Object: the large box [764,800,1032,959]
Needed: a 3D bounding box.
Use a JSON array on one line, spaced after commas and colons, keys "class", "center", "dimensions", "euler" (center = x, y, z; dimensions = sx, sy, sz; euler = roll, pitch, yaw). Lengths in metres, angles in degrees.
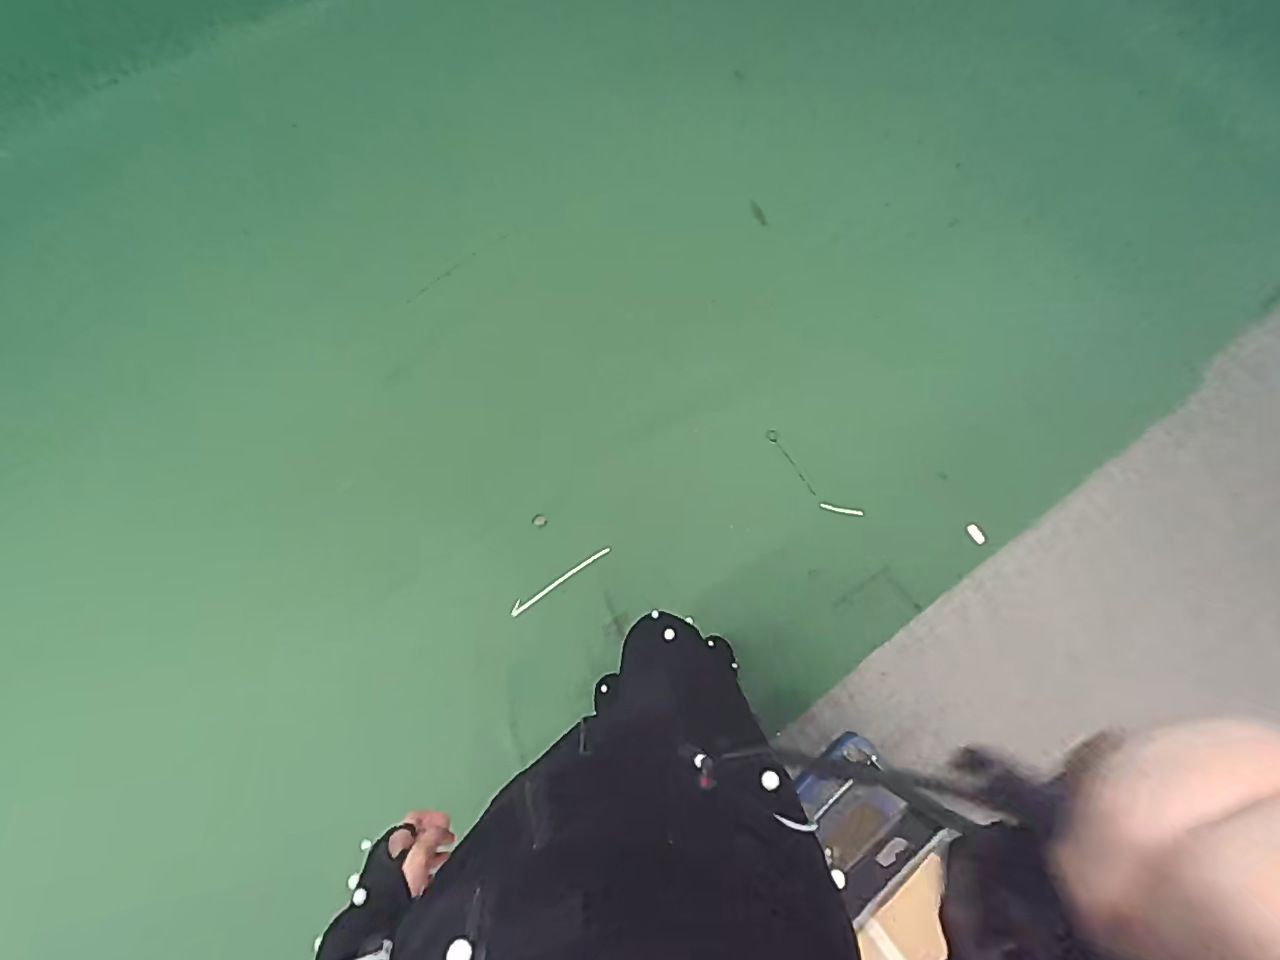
[{"class": "large box", "center": [0.496, 0.889, 0.972], "dimensions": [0.320, 0.320, 0.408], "euler": [-39, 77, -10]}]
